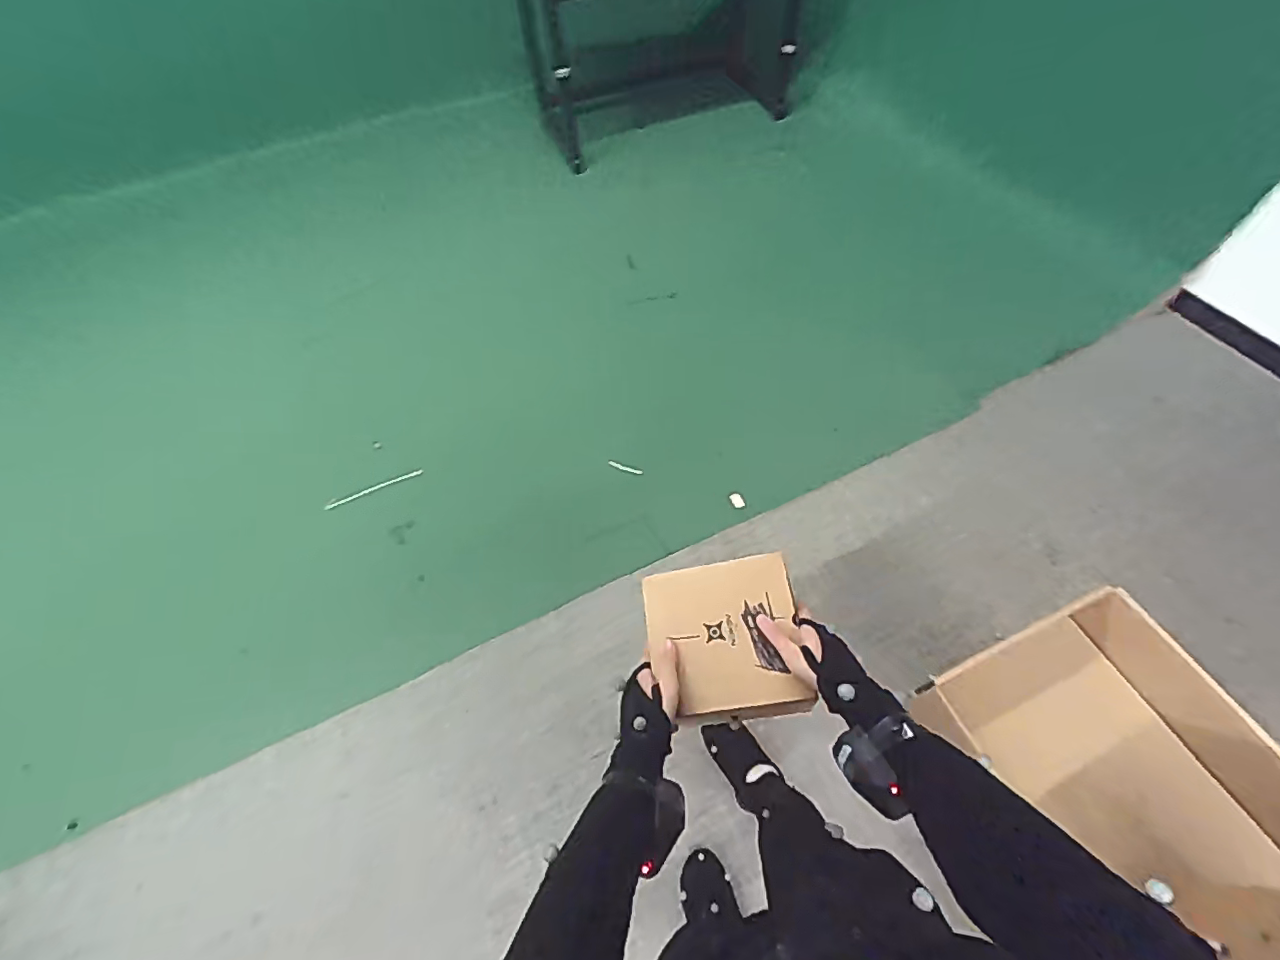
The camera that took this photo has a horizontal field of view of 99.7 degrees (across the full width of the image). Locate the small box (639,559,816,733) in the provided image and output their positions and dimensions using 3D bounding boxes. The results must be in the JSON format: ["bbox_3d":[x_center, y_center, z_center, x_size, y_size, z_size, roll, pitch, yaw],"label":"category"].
[{"bbox_3d":[0.109,0.215,0.679,0.179,0.176,0.168,-13,60,9],"label":"small box"}]
